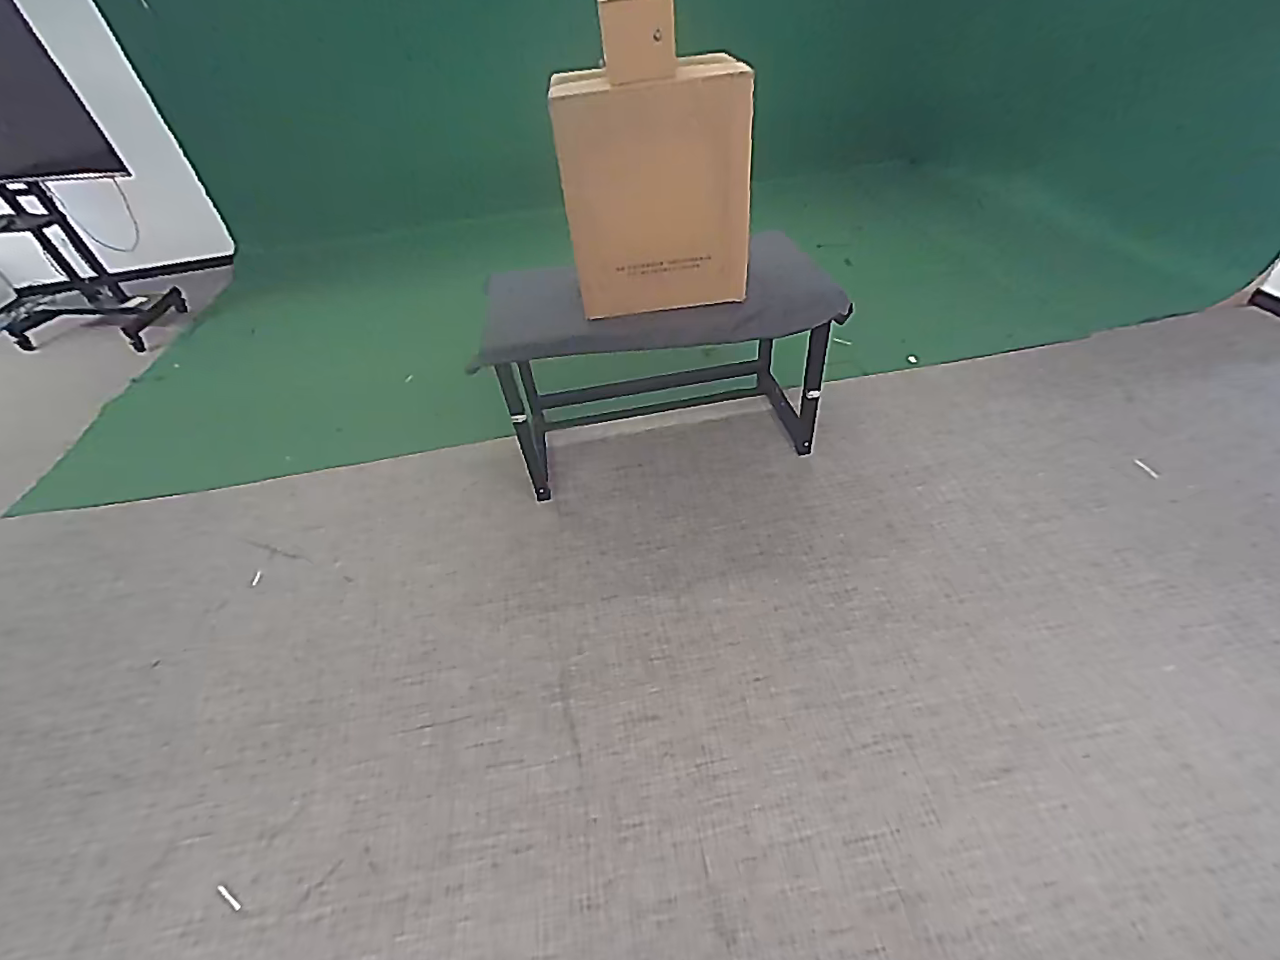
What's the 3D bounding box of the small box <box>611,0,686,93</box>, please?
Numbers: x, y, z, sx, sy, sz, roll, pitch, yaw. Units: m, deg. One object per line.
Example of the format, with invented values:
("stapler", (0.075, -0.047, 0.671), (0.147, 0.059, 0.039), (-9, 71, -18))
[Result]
("small box", (0.025, -1.130, 1.404), (0.179, 0.176, 0.168), (-8, 45, 0))
